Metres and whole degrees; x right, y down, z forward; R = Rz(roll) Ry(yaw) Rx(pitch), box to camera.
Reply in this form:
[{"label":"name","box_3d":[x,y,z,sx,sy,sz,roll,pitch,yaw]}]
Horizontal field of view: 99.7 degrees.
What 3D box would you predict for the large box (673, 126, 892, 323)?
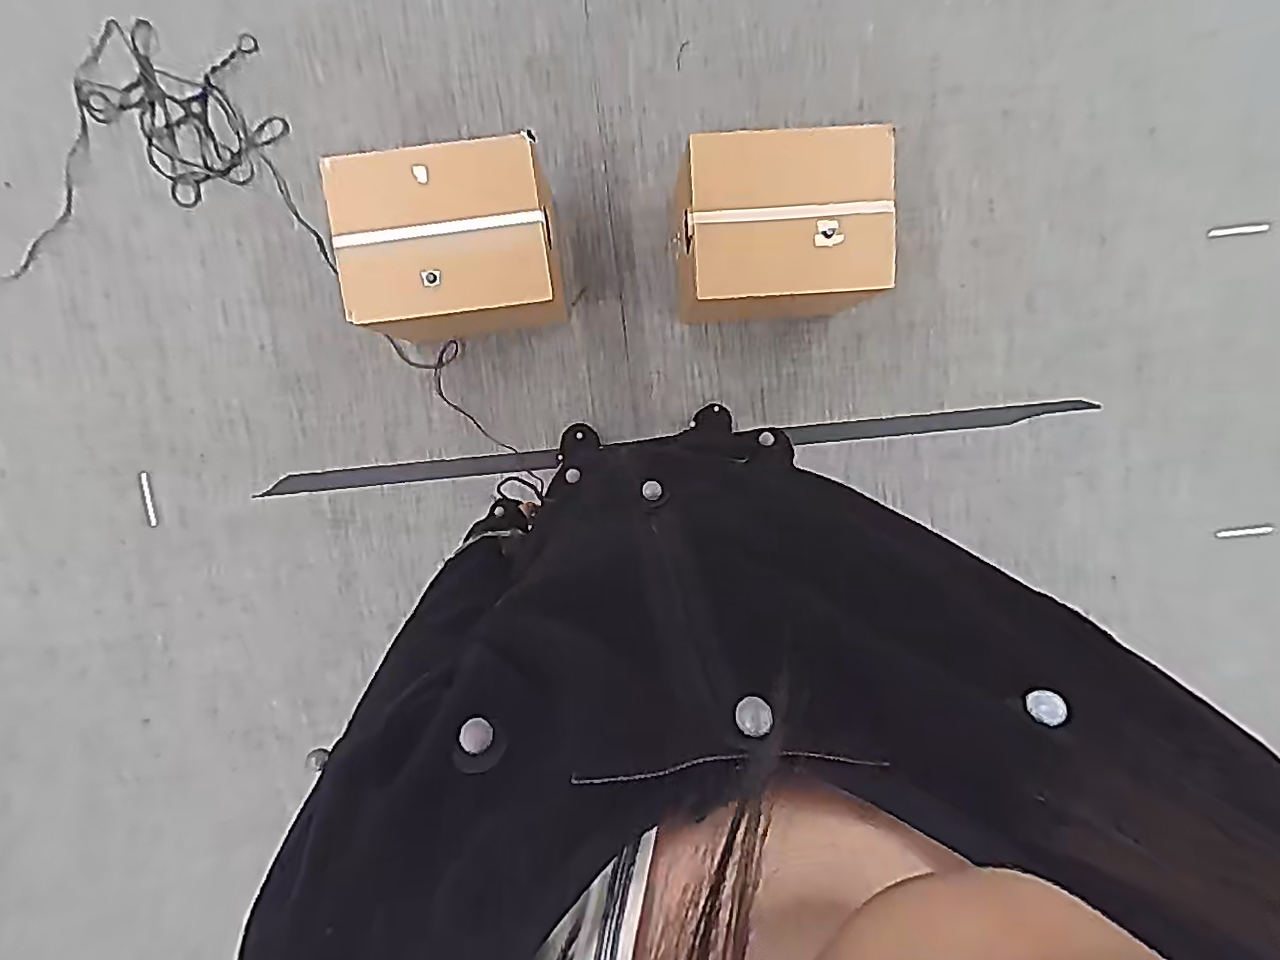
[{"label":"large box","box_3d":[0.297,-0.550,1.223,0.408,0.320,0.320,-4,98,-2]}]
